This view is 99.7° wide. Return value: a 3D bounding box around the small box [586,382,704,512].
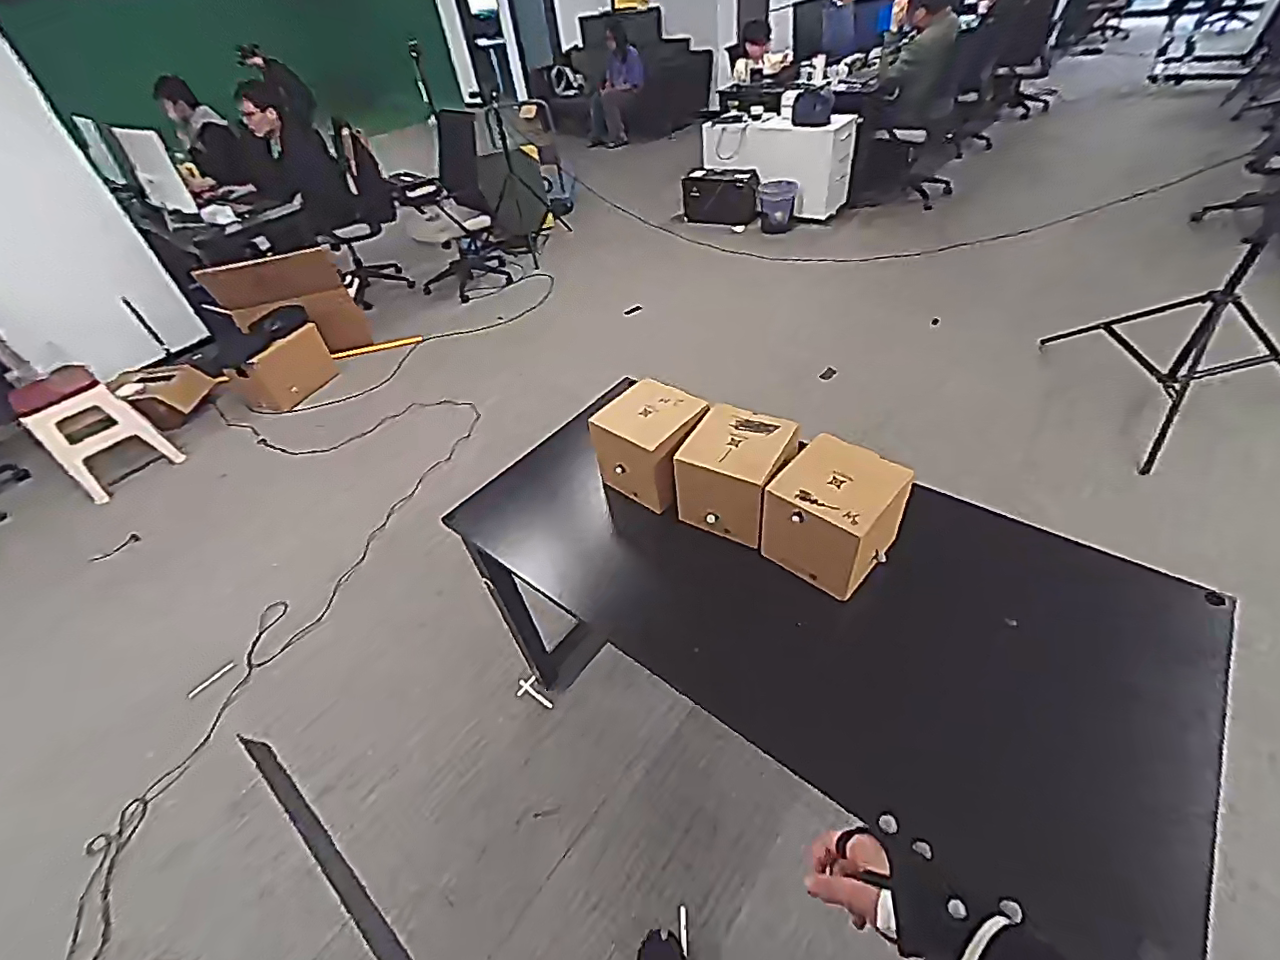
[{"bbox_3d":[0.020,-0.066,1.096,0.168,0.176,0.179,28,54,32],"label":"small box"}]
